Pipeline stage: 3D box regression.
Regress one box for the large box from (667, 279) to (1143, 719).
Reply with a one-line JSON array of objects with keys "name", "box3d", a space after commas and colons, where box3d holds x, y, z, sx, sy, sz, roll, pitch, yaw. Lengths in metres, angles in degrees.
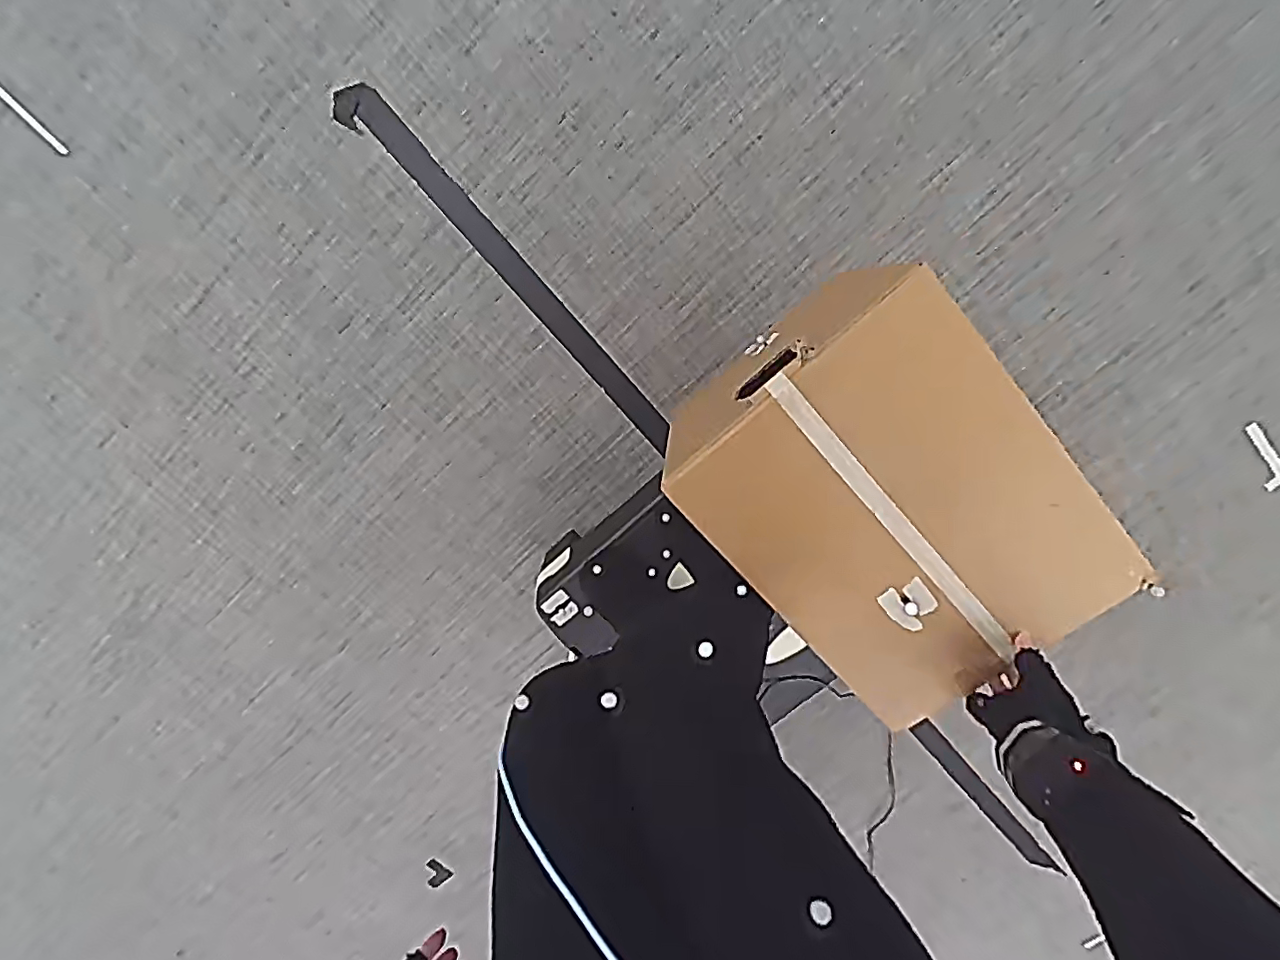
[{"name": "large box", "box3d": [0.279, 0.002, 0.696, 0.320, 0.320, 0.408, -41, 102, 17]}]
